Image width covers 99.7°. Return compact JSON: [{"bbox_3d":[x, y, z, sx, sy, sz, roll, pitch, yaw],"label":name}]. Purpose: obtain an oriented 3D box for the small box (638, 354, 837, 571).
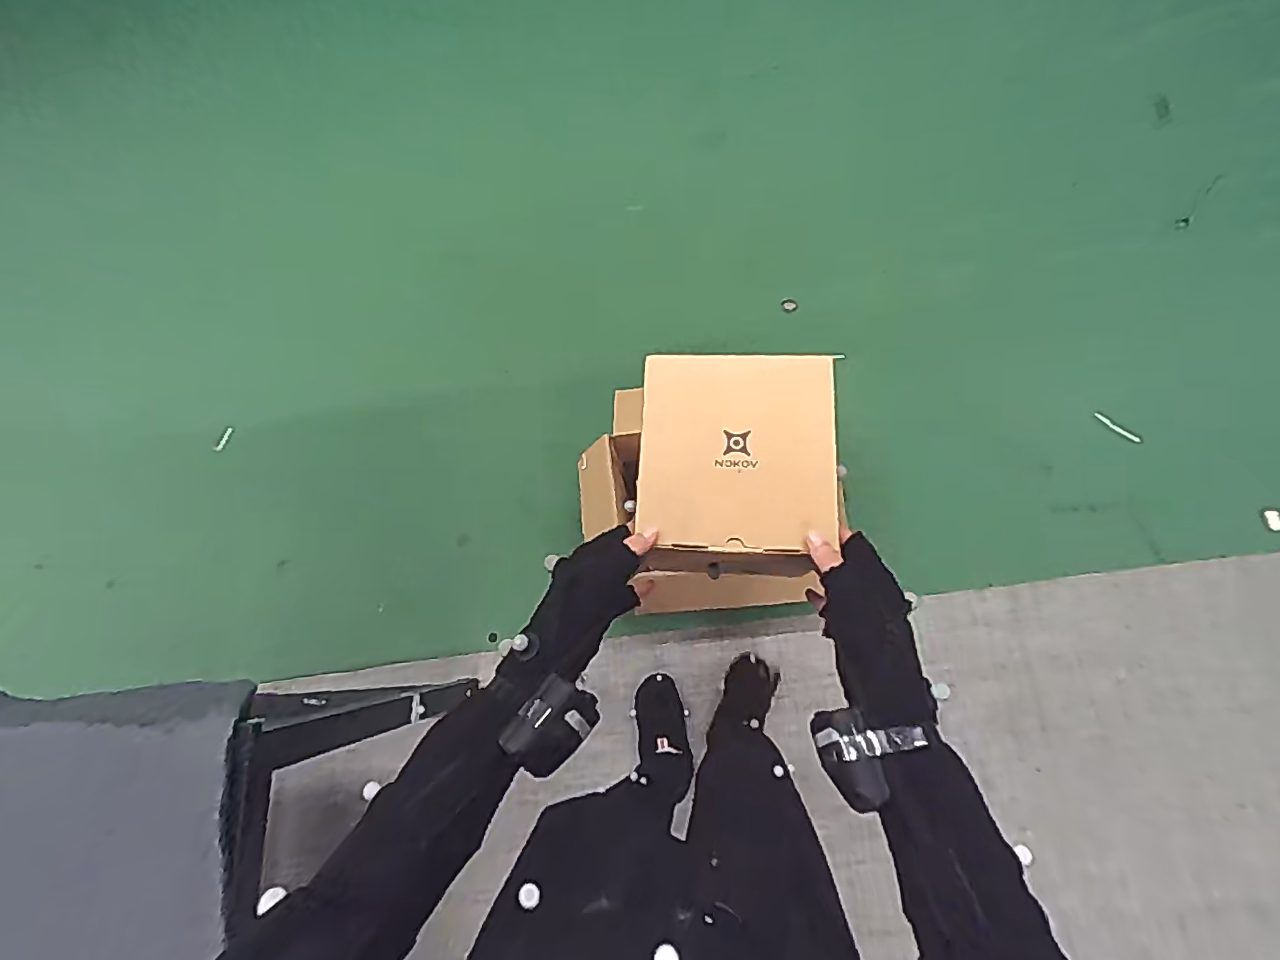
[{"bbox_3d":[0.091,-0.008,0.544,0.168,0.176,0.179,1,75,6],"label":"small box"}]
